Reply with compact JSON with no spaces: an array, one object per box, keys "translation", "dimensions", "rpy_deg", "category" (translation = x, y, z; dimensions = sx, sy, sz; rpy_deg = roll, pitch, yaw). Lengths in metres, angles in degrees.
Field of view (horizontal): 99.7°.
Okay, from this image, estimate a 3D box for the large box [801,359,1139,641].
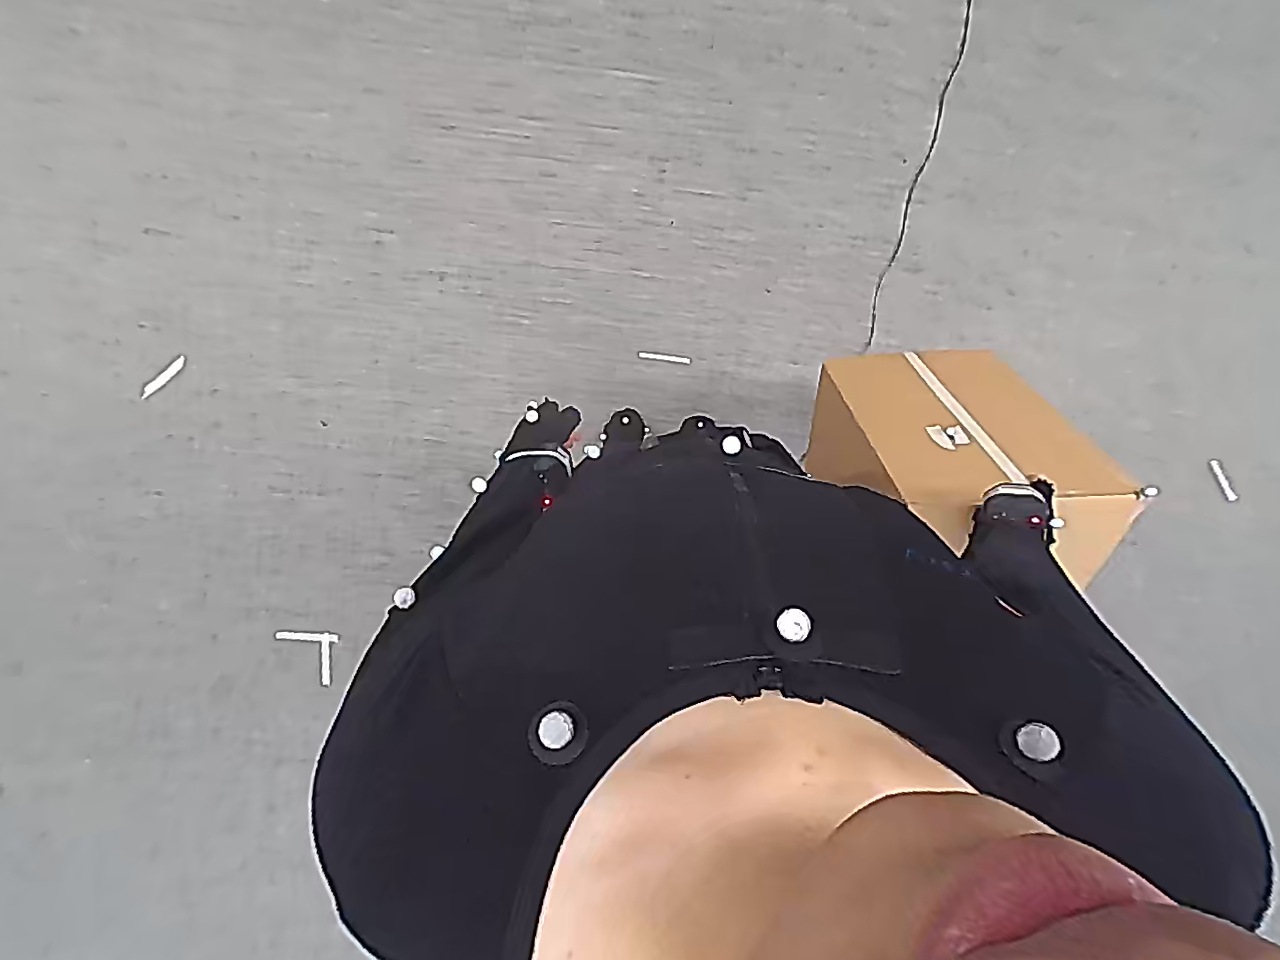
[{"translation":[0.508,0.022,0.961],"dimensions":[0.320,0.408,0.320],"rpy_deg":[-4,131,1],"category":"large box"}]
